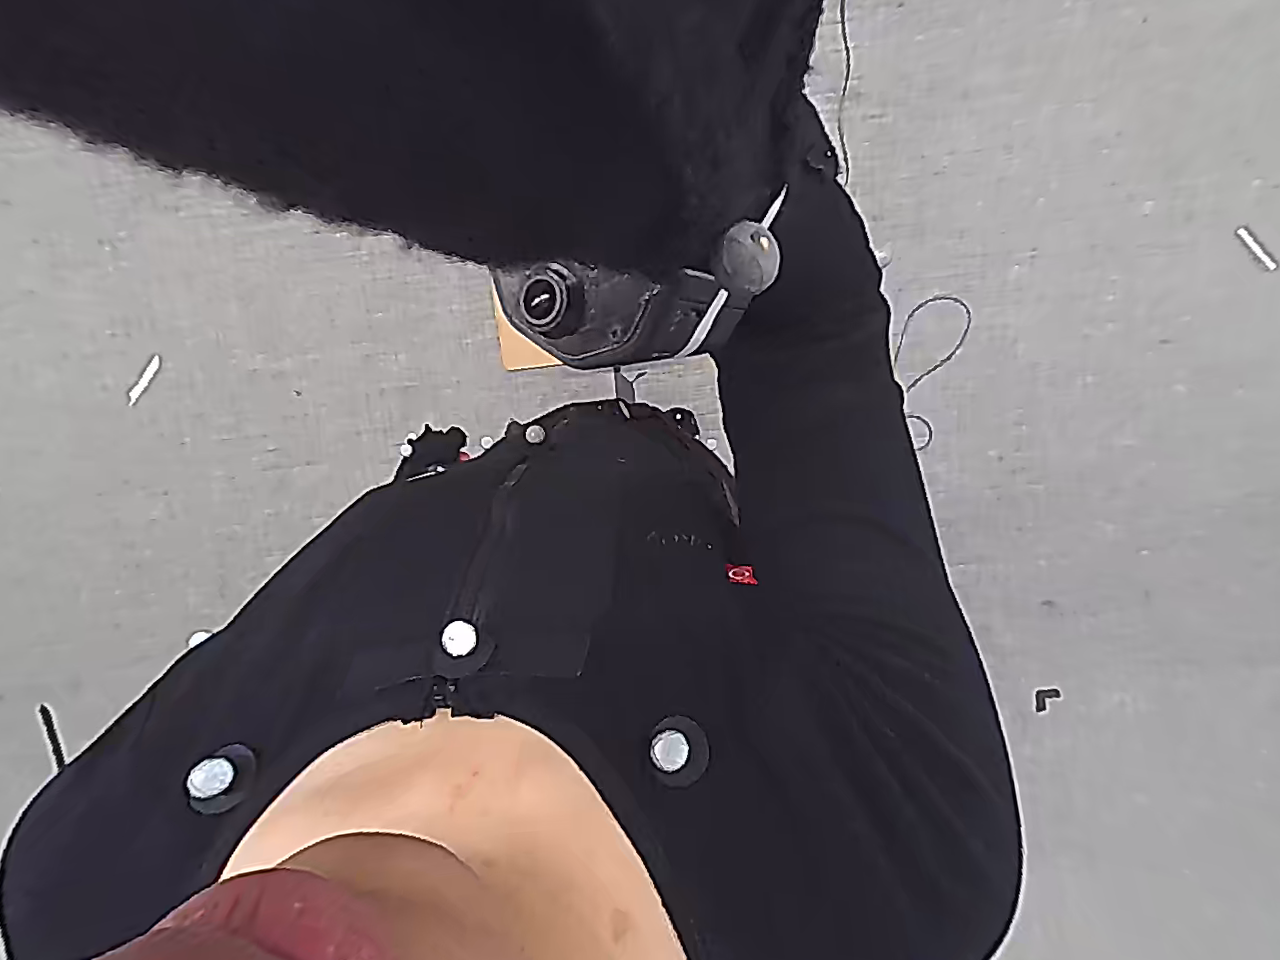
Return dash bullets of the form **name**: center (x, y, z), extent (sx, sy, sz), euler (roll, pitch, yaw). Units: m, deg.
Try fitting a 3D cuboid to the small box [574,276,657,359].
- **small box**: center (-0.056, -0.393, 1.328), extent (0.179, 0.176, 0.168), euler (-7, 99, 3)
